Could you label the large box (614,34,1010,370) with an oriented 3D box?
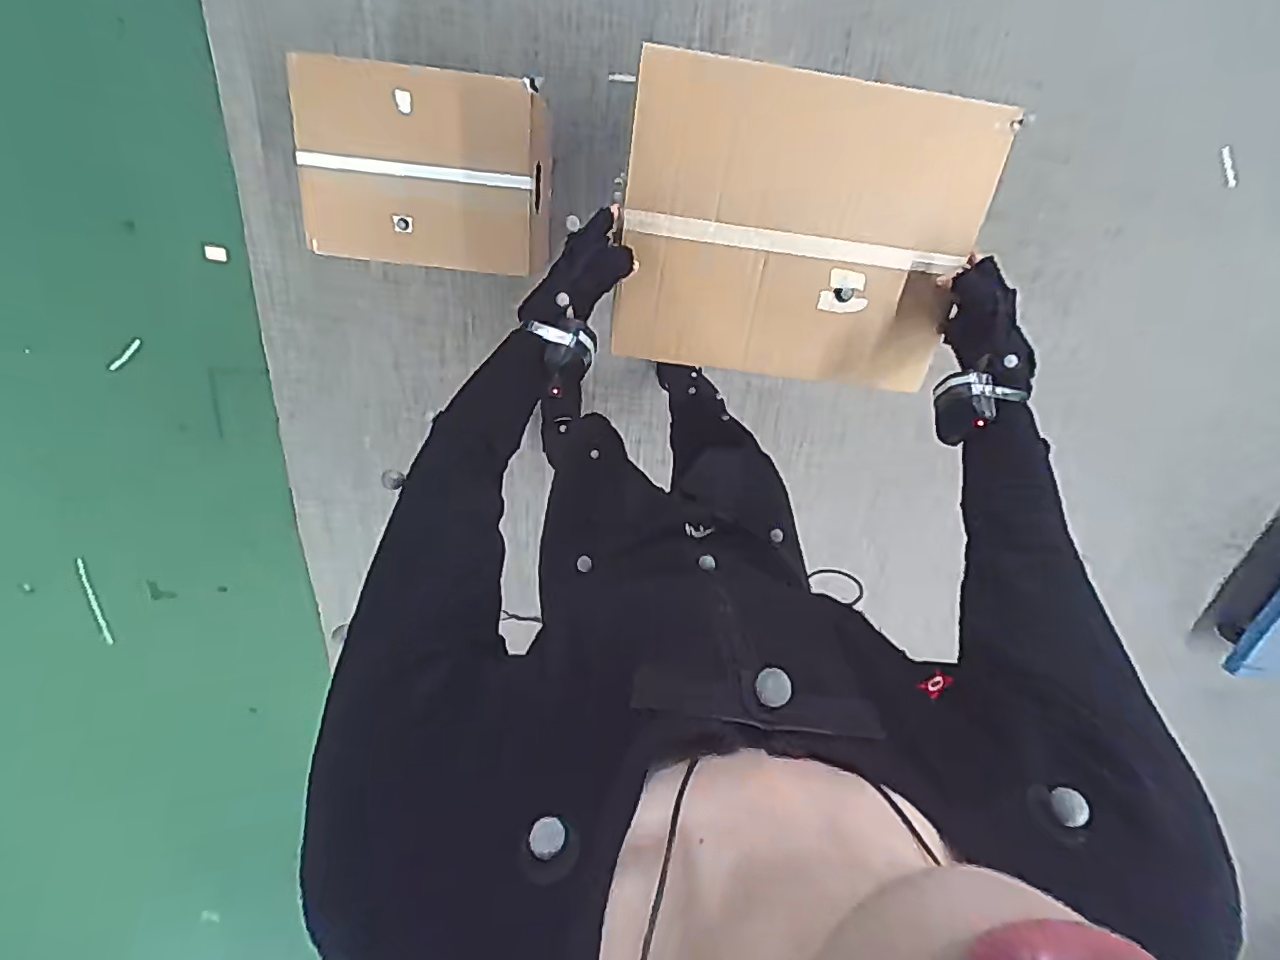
[{"bbox_3d":[0.174,-0.362,0.754,0.408,0.320,0.320,5,118,-5],"label":"large box"}]
